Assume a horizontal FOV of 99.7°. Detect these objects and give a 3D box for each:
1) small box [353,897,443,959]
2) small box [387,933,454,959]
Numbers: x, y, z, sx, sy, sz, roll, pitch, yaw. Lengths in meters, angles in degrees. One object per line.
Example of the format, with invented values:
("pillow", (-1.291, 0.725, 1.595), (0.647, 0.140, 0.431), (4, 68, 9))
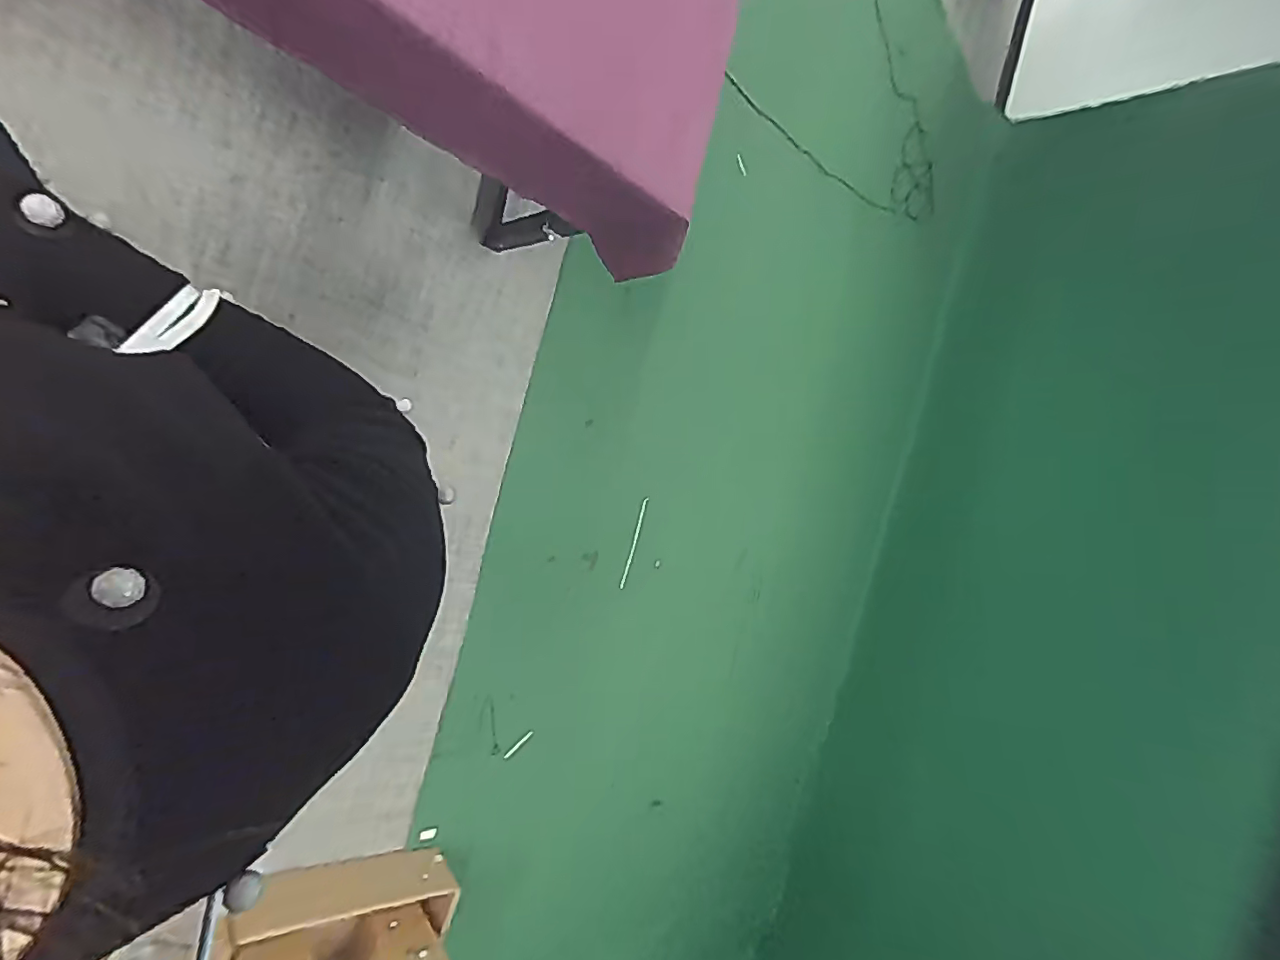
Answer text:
("small box", (-0.729, 1.395, 1.619), (0.168, 0.176, 0.179), (28, 81, -43))
("small box", (-0.620, 1.421, 1.500), (0.168, 0.176, 0.179), (30, 78, -43))
